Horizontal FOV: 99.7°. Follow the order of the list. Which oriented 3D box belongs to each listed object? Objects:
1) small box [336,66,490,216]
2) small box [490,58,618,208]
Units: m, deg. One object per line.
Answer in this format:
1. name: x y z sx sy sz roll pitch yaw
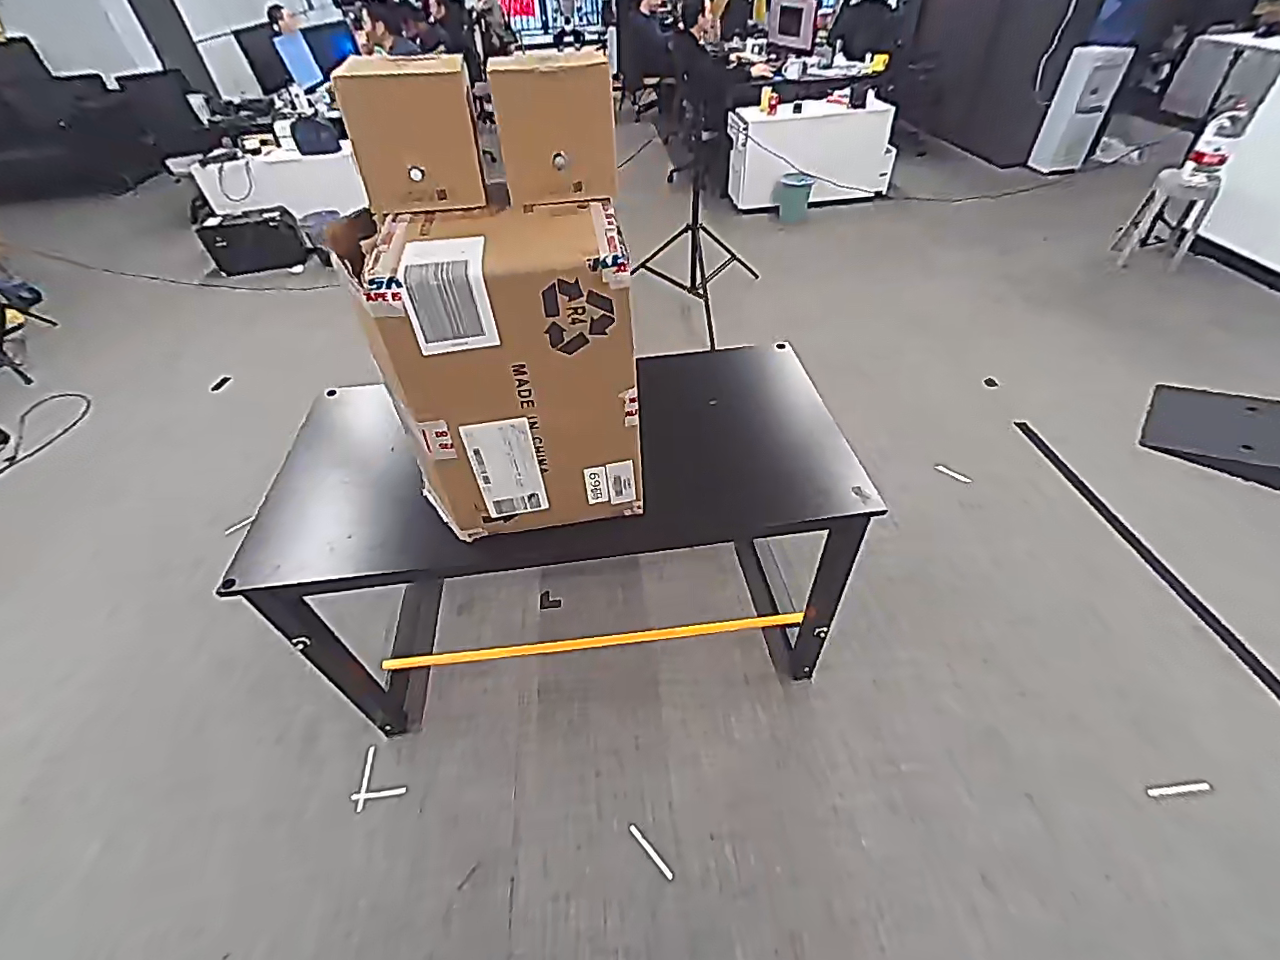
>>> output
1. small box: -0.325 -0.510 0.814 0.168 0.176 0.179 -8 43 -9
2. small box: -0.129 -0.536 0.834 0.168 0.176 0.179 -9 43 -6
